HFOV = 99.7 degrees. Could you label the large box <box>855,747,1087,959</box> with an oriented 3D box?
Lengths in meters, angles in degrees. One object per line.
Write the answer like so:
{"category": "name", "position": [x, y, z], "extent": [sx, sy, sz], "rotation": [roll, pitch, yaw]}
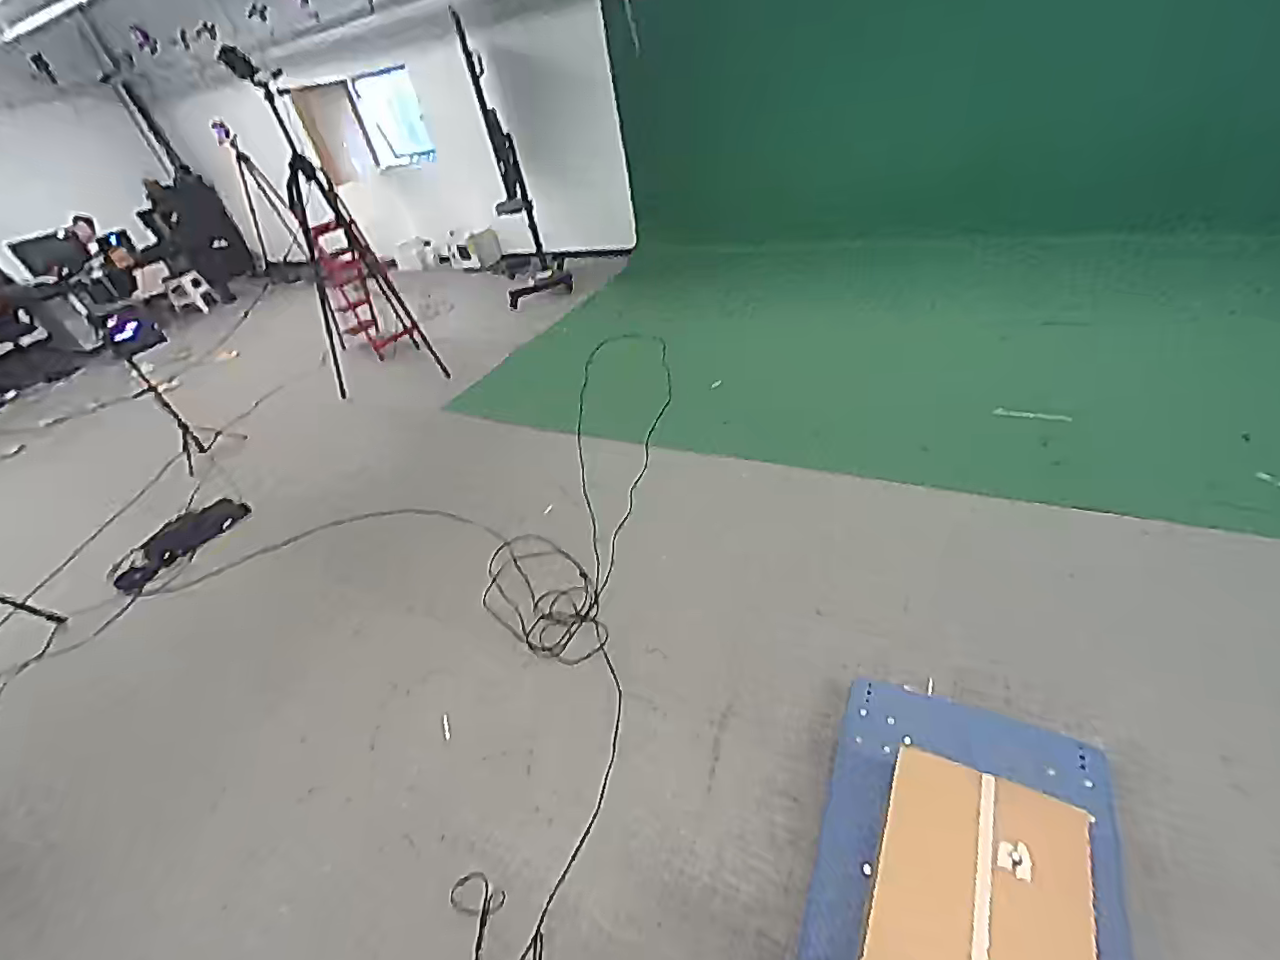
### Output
{"category": "large box", "position": [0.596, 0.814, 1.014], "extent": [0.320, 0.320, 0.408], "rotation": [12, 43, 27]}
